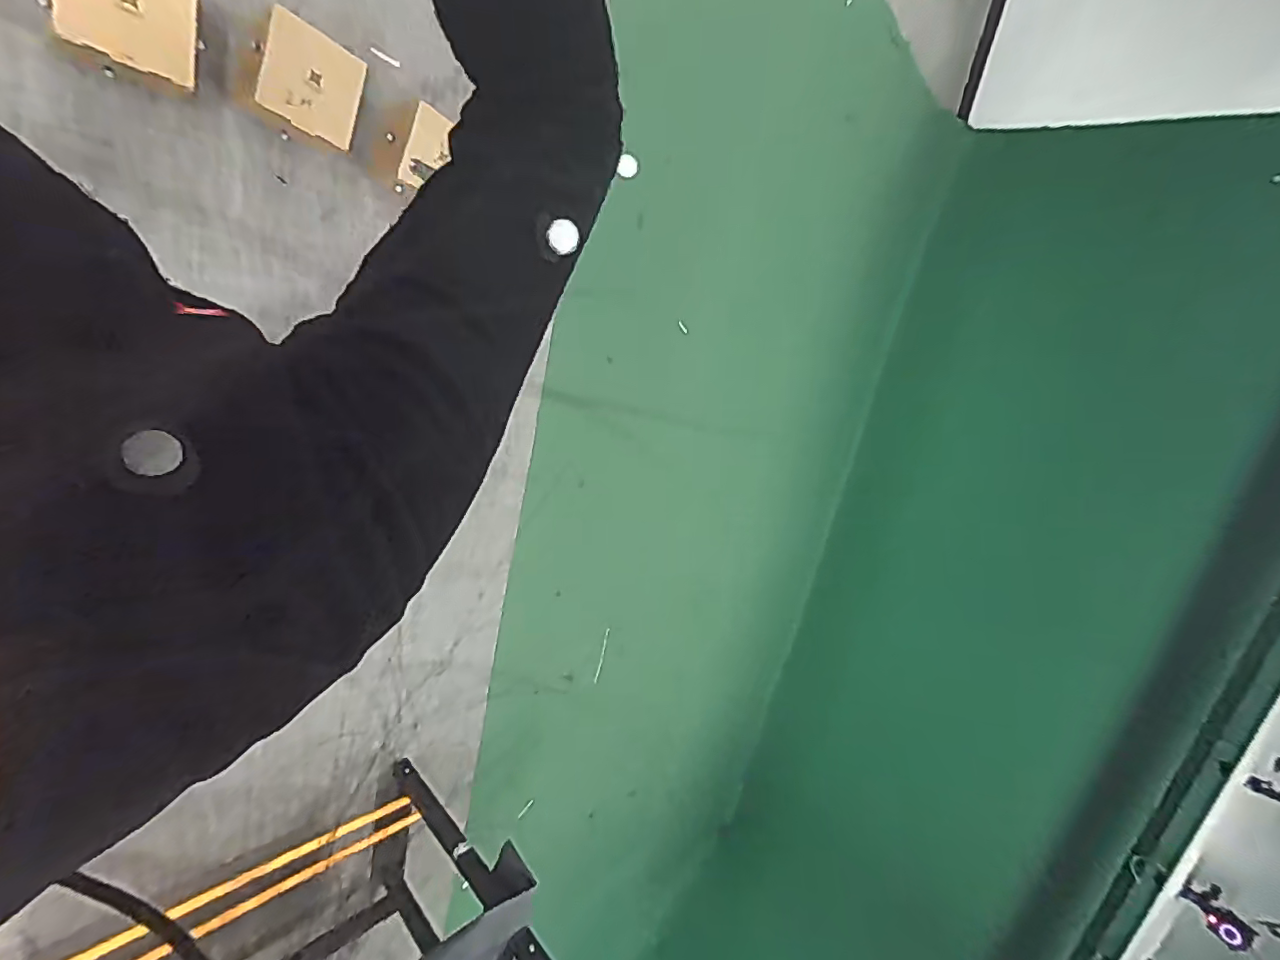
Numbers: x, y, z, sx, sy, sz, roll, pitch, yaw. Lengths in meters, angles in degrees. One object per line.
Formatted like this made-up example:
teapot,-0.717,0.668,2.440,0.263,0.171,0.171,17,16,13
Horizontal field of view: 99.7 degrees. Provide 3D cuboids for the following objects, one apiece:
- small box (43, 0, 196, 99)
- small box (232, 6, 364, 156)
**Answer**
small box,-0.857,-0.766,0.890,0.168,0.176,0.179,-3,111,-49
small box,-0.687,-0.782,1.081,0.168,0.176,0.179,9,102,-51
